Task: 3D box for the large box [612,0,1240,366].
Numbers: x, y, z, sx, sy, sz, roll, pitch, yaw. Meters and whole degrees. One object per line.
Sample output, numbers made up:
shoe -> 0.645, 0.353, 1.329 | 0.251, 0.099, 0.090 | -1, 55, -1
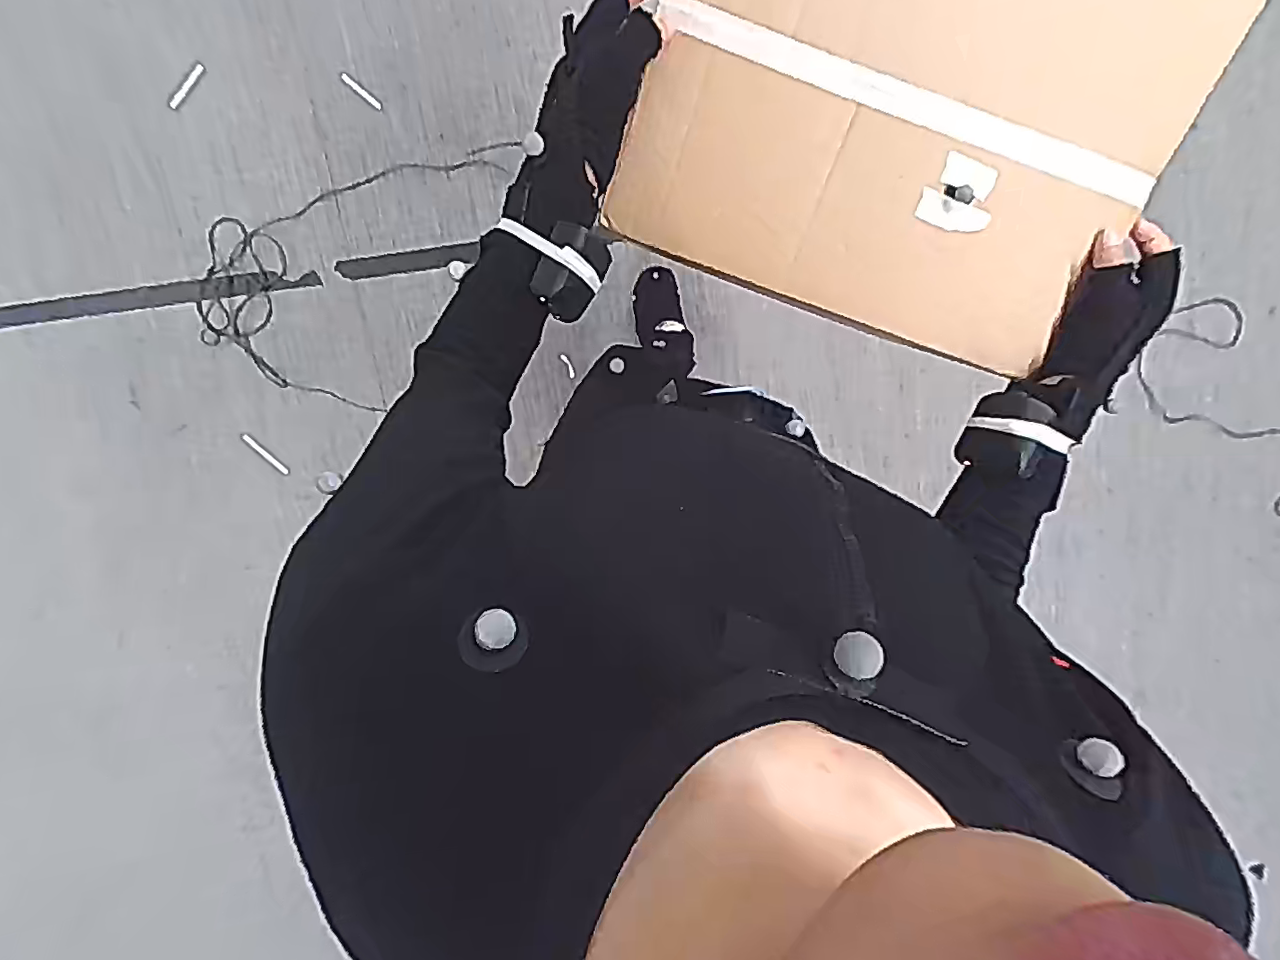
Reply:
large box -> 0.214, -0.350, 0.564 | 0.408, 0.320, 0.320 | 19, 112, -4
